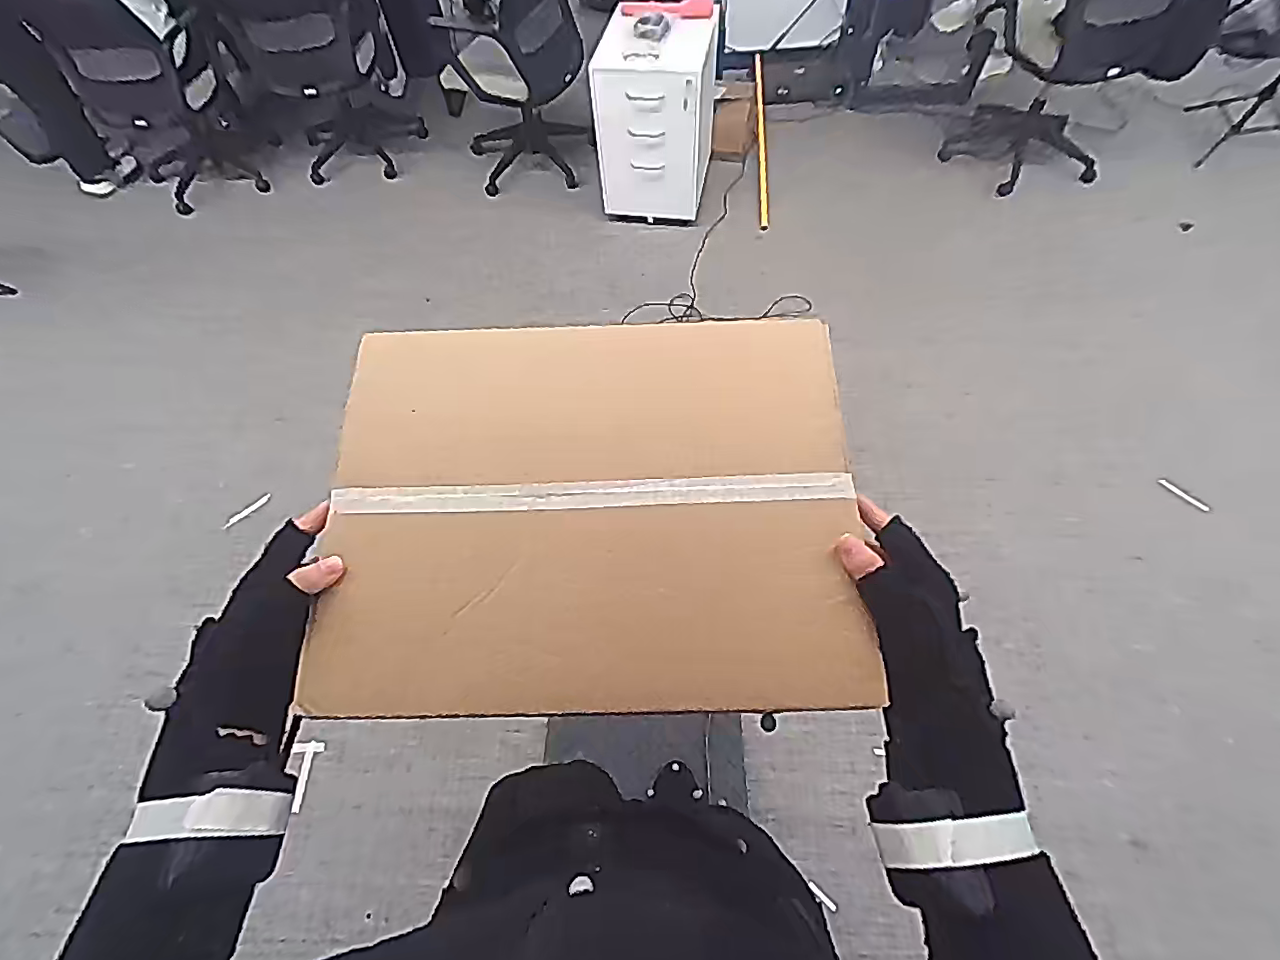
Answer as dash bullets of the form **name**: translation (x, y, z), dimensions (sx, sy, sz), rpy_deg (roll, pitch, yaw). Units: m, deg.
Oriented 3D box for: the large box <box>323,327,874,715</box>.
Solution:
- **large box**: translation (-0.030, 0.065, 0.574), dimensions (0.408, 0.320, 0.320), rpy_deg (-2, 69, 2)
